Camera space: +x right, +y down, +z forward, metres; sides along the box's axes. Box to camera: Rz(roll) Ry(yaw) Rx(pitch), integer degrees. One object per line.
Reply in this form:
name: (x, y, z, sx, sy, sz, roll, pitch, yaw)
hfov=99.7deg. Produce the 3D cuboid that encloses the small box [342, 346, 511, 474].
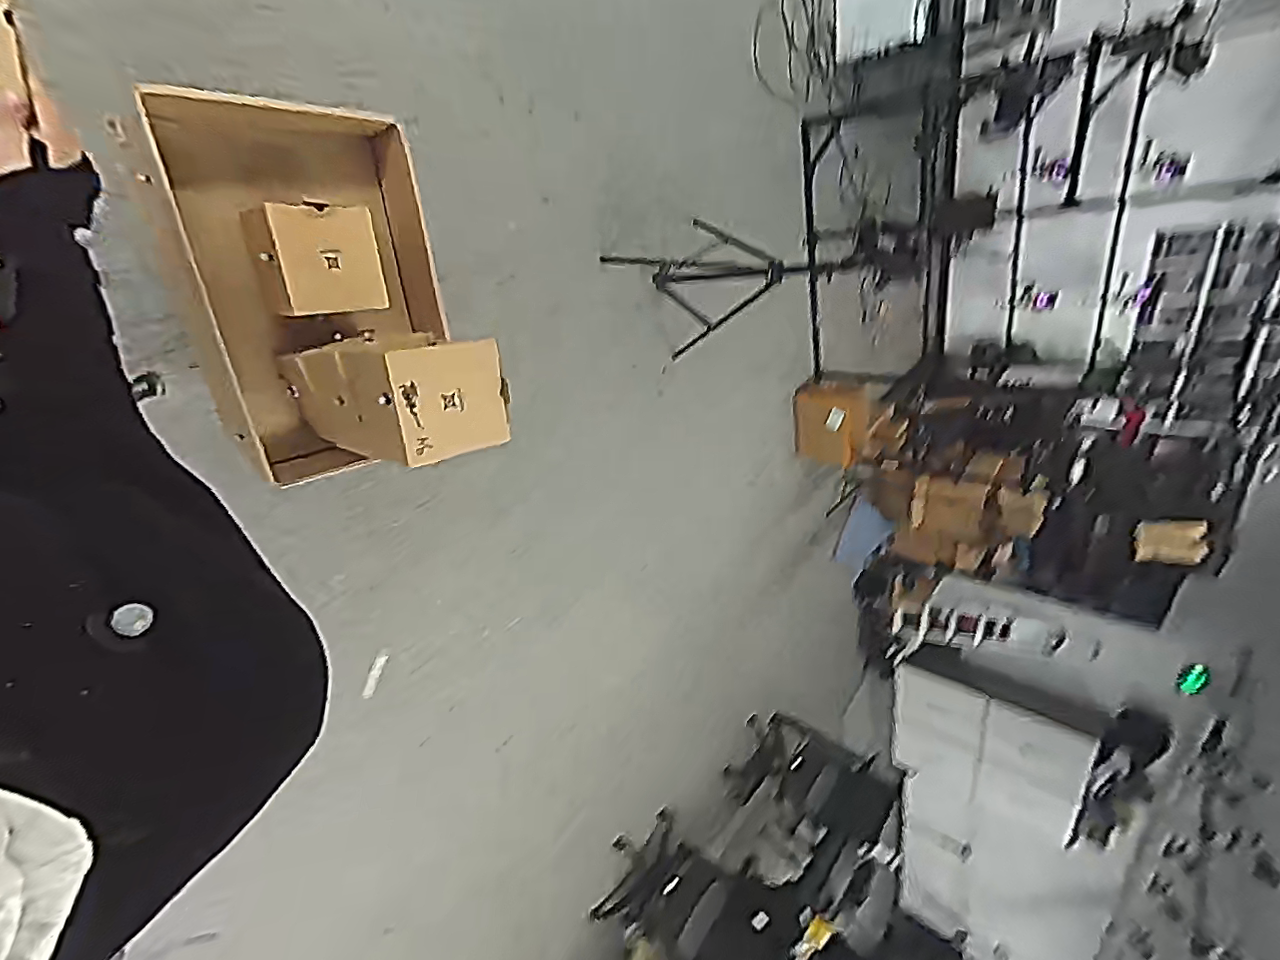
small box: (-0.330, -0.120, 0.845, 0.179, 0.176, 0.168, -22, 115, -43)

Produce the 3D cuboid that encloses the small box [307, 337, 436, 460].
small box: (-0.452, -0.148, 0.951, 0.168, 0.176, 0.179, -28, 120, -40)

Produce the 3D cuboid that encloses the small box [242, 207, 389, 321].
small box: (-0.588, -0.388, 0.983, 0.168, 0.176, 0.179, -23, 118, -42)

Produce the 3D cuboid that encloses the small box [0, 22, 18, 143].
small box: (-0.642, -0.374, 0.422, 0.179, 0.176, 0.168, -13, 104, -53)
